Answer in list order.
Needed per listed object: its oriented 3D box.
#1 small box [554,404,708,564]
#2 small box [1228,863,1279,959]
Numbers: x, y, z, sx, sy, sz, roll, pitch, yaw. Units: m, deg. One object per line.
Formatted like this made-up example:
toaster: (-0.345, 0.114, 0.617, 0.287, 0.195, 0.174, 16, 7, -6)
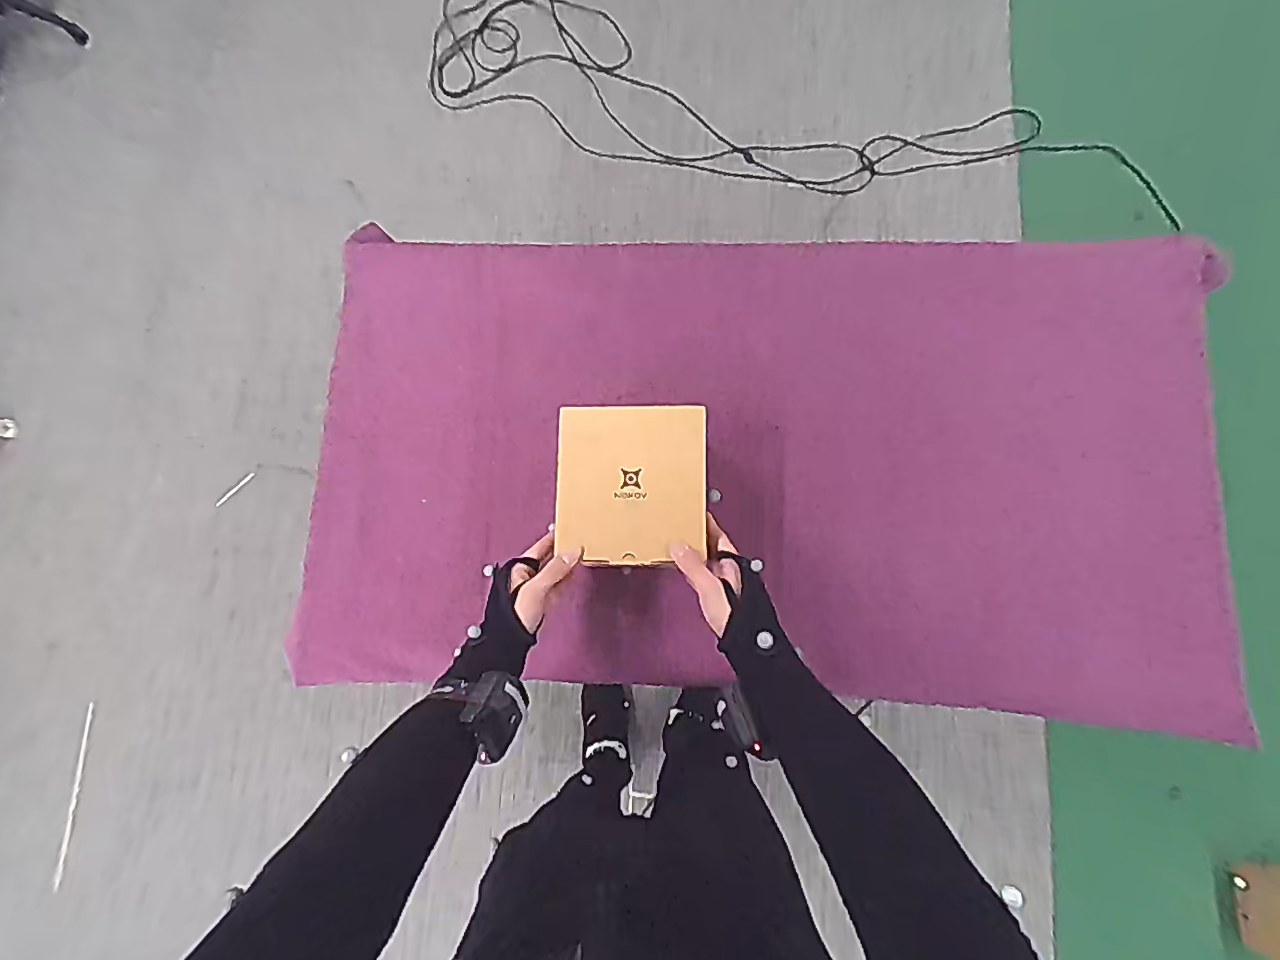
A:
small box: (-0.005, 0.014, 0.669, 0.168, 0.176, 0.179, 0, 82, 4)
small box: (1.413, 0.945, 1.144, 0.179, 0.176, 0.168, 1, 81, 4)
